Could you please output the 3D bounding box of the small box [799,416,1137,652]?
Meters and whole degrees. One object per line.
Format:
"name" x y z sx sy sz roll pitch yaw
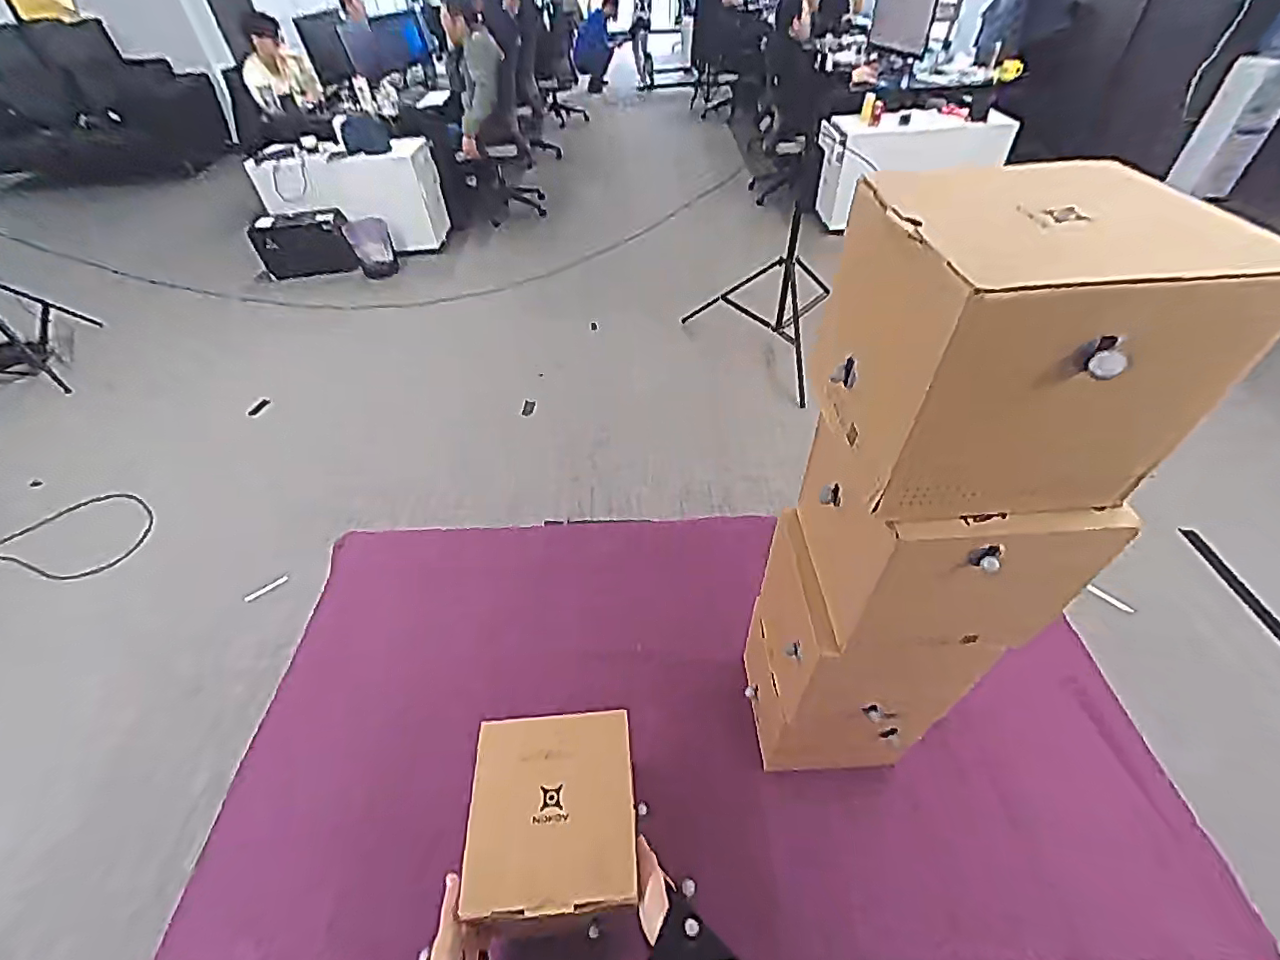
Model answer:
"small box" 0.248 0.028 0.473 0.168 0.176 0.179 -4 45 0

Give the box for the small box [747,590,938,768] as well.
"small box" 0.245 0.259 0.706 0.179 0.176 0.168 -5 45 1

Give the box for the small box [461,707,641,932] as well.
"small box" -0.088 0.381 0.605 0.168 0.176 0.179 -4 44 -4

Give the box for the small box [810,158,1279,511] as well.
"small box" 0.234 -0.094 0.365 0.179 0.176 0.168 -4 46 0
